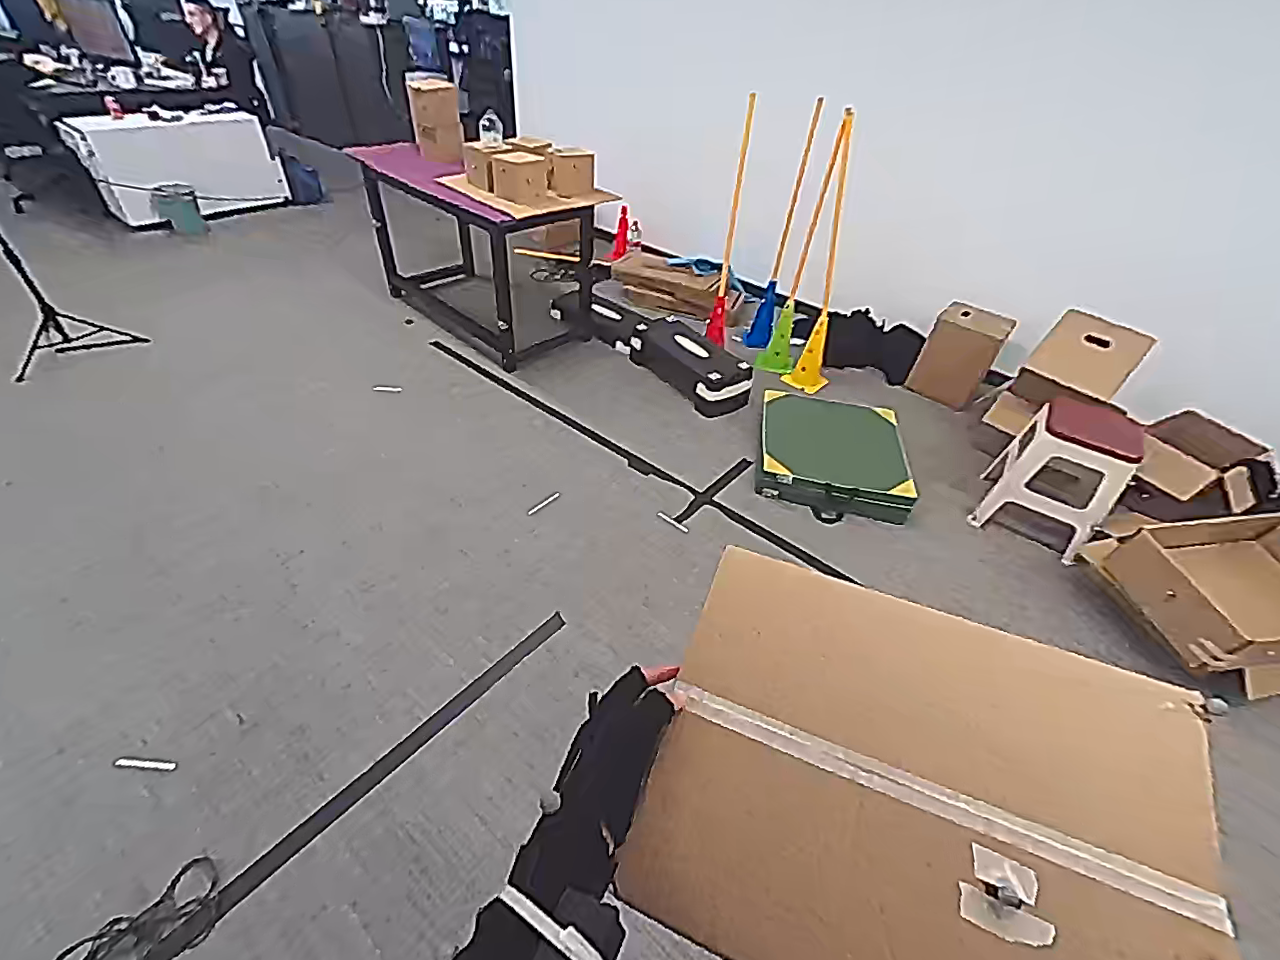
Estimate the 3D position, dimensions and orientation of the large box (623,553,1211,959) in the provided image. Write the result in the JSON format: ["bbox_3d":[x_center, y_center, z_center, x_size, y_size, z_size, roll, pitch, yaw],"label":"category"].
[{"bbox_3d":[0.235,0.328,0.567,0.408,0.320,0.320,17,62,17],"label":"large box"}]
